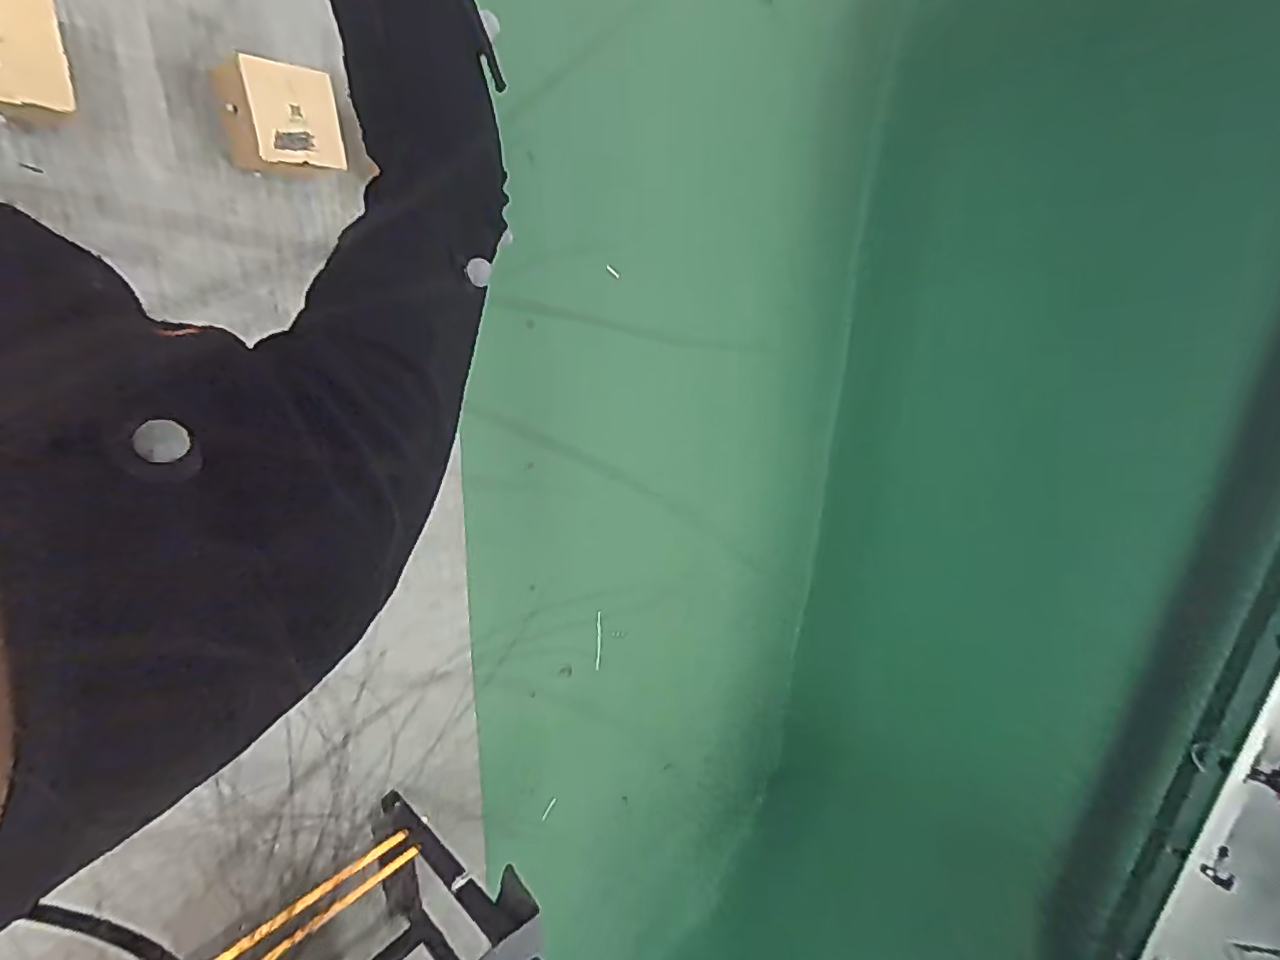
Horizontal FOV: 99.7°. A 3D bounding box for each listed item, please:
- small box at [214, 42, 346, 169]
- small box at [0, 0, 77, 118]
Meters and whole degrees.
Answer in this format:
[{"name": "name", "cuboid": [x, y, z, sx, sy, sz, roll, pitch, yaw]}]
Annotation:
[{"name": "small box", "cuboid": [-0.742, -0.759, 1.119, 0.168, 0.176, 0.179, -24, 121, -46]}, {"name": "small box", "cuboid": [-0.998, -0.683, 0.819, 0.168, 0.176, 0.179, -16, 117, -47]}]
